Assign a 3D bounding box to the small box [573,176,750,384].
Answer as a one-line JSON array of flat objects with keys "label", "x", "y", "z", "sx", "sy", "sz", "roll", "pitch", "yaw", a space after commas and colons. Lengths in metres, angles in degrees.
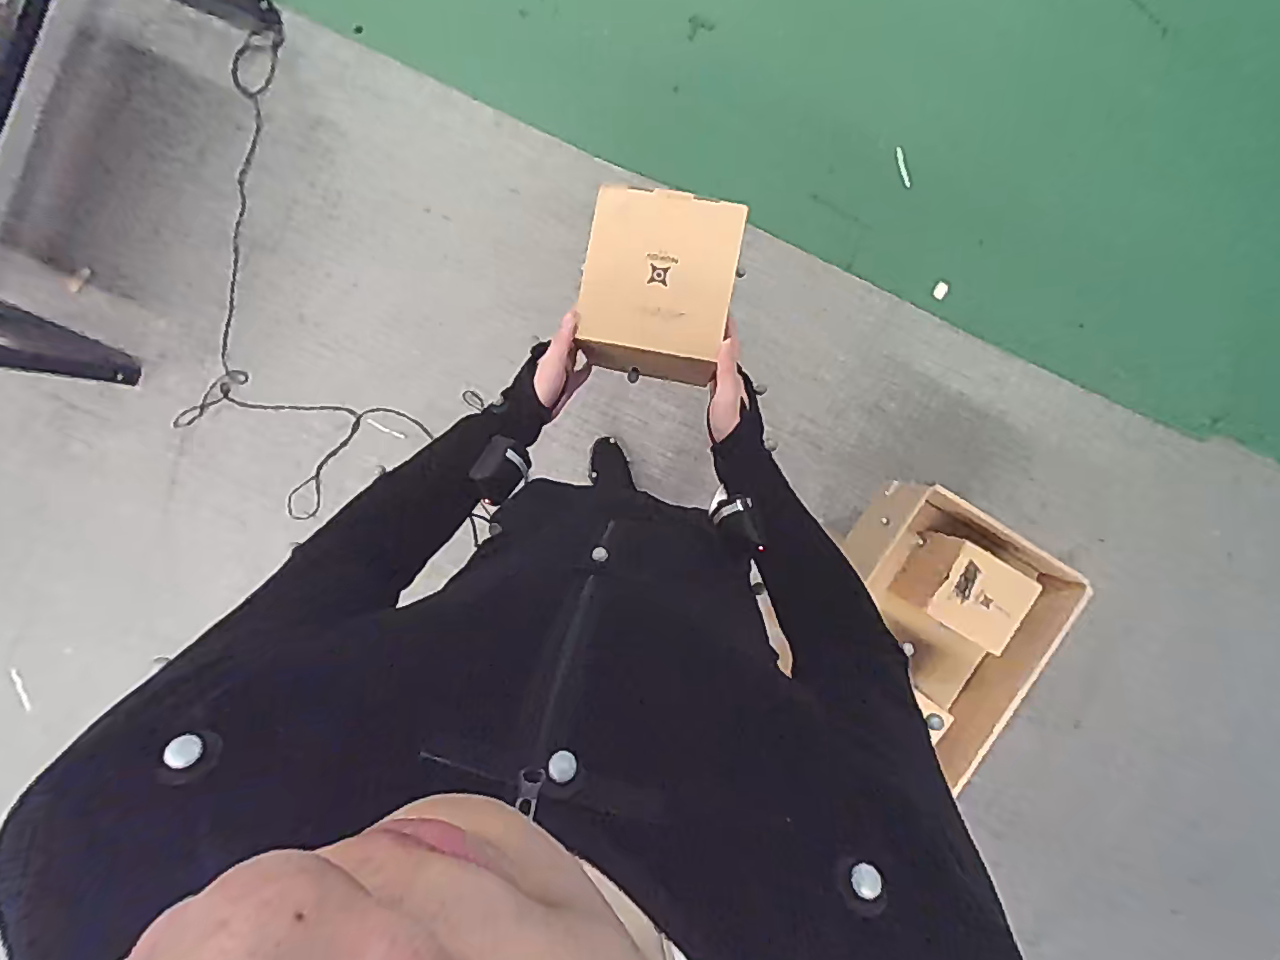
[{"label": "small box", "x": 0.024, "y": -0.227, "z": 0.657, "sx": 0.168, "sy": 0.176, "sz": 0.179, "roll": 11, "pitch": 92, "yaw": 2}]
